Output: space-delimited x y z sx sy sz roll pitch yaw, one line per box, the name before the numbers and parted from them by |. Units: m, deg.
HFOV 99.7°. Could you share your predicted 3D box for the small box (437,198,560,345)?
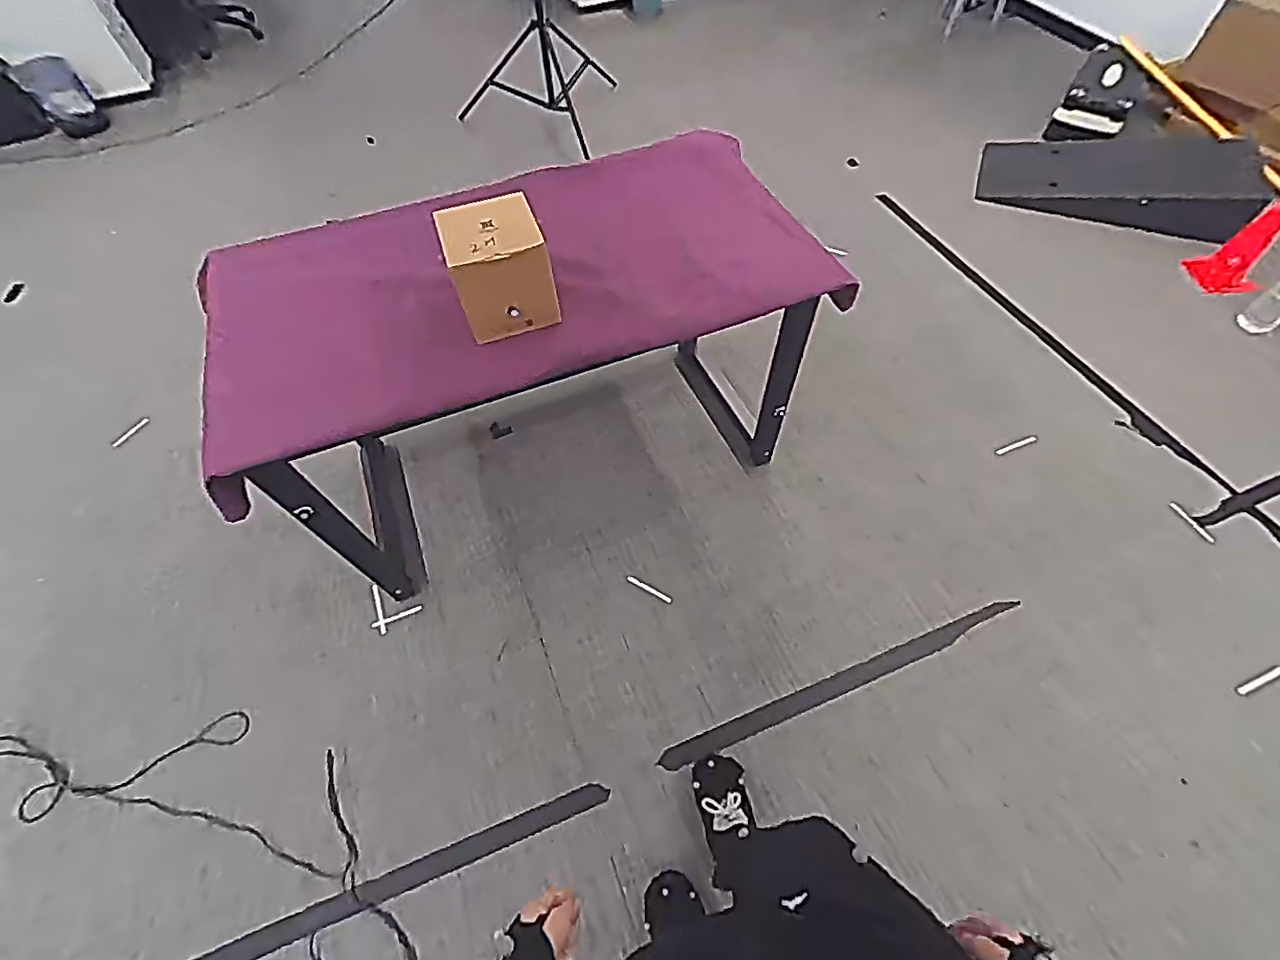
small box | -0.257 -0.383 1.000 0.168 0.176 0.179 -18 59 -9
